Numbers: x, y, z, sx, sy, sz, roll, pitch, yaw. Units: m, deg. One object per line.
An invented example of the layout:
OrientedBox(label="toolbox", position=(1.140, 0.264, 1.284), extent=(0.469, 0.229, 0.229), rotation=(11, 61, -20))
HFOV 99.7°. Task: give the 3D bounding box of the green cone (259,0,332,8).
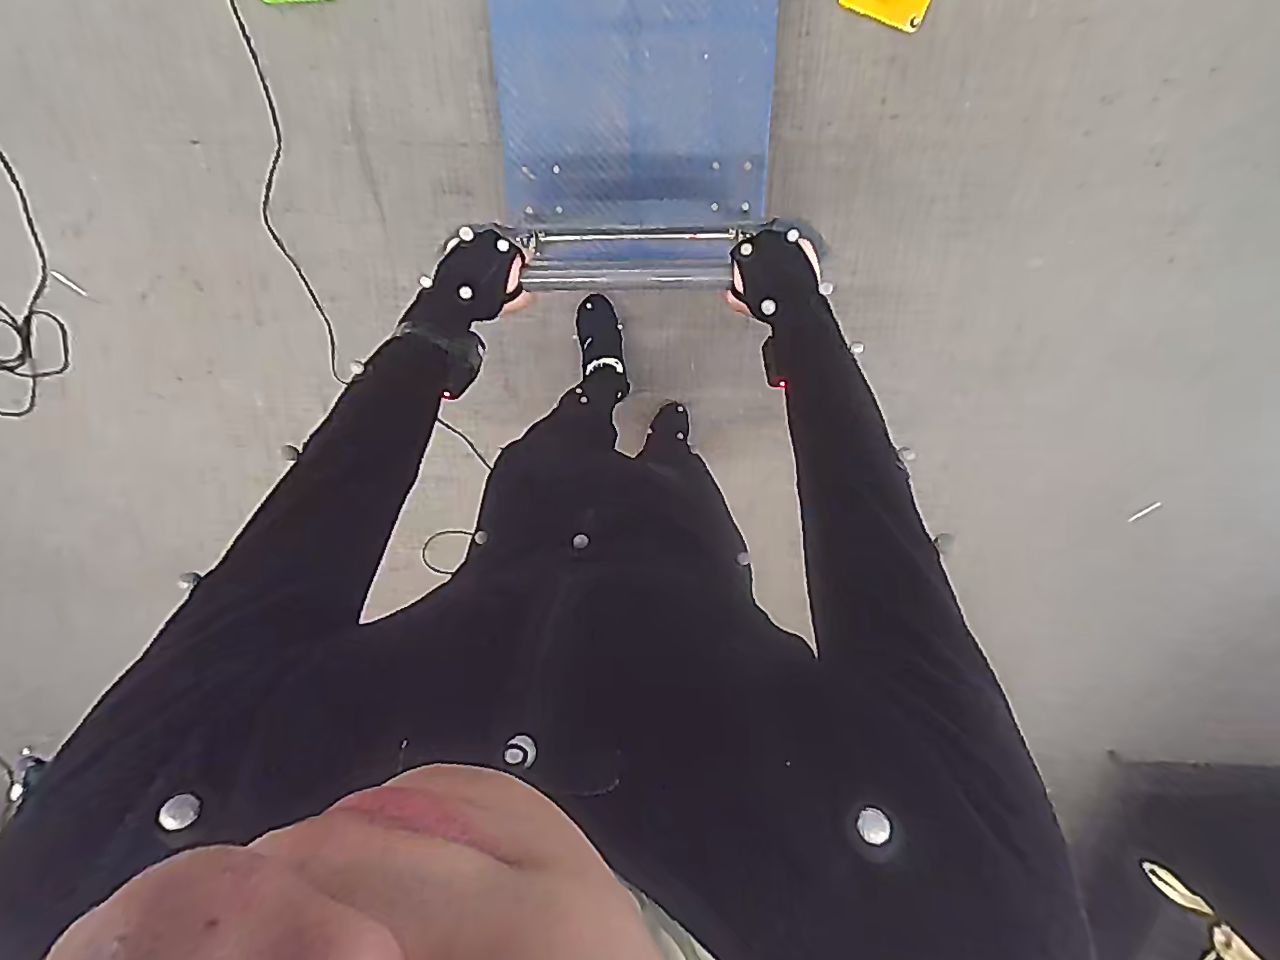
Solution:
OrientedBox(label="green cone", position=(-0.785, -1.109, 1.031), extent=(0.202, 0.368, 0.200), rotation=(-2, 111, 4))
